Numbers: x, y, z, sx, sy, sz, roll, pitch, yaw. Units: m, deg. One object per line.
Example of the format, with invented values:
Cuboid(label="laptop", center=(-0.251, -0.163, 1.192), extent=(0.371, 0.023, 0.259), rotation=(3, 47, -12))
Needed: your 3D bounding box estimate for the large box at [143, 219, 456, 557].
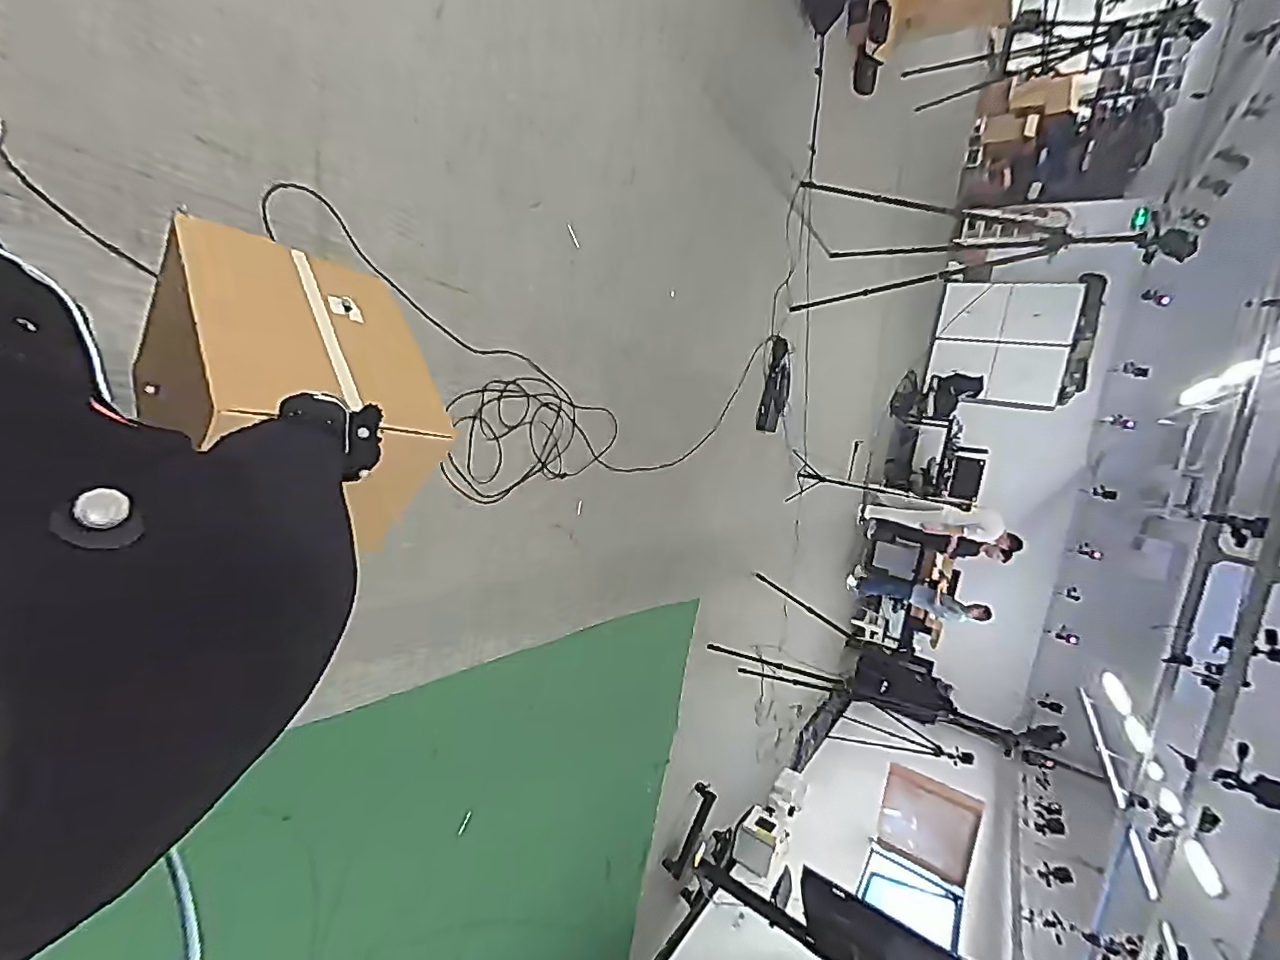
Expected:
Cuboid(label="large box", center=(-0.573, -0.130, 0.891), extent=(0.320, 0.408, 0.320), rotation=(-46, 152, 26))
